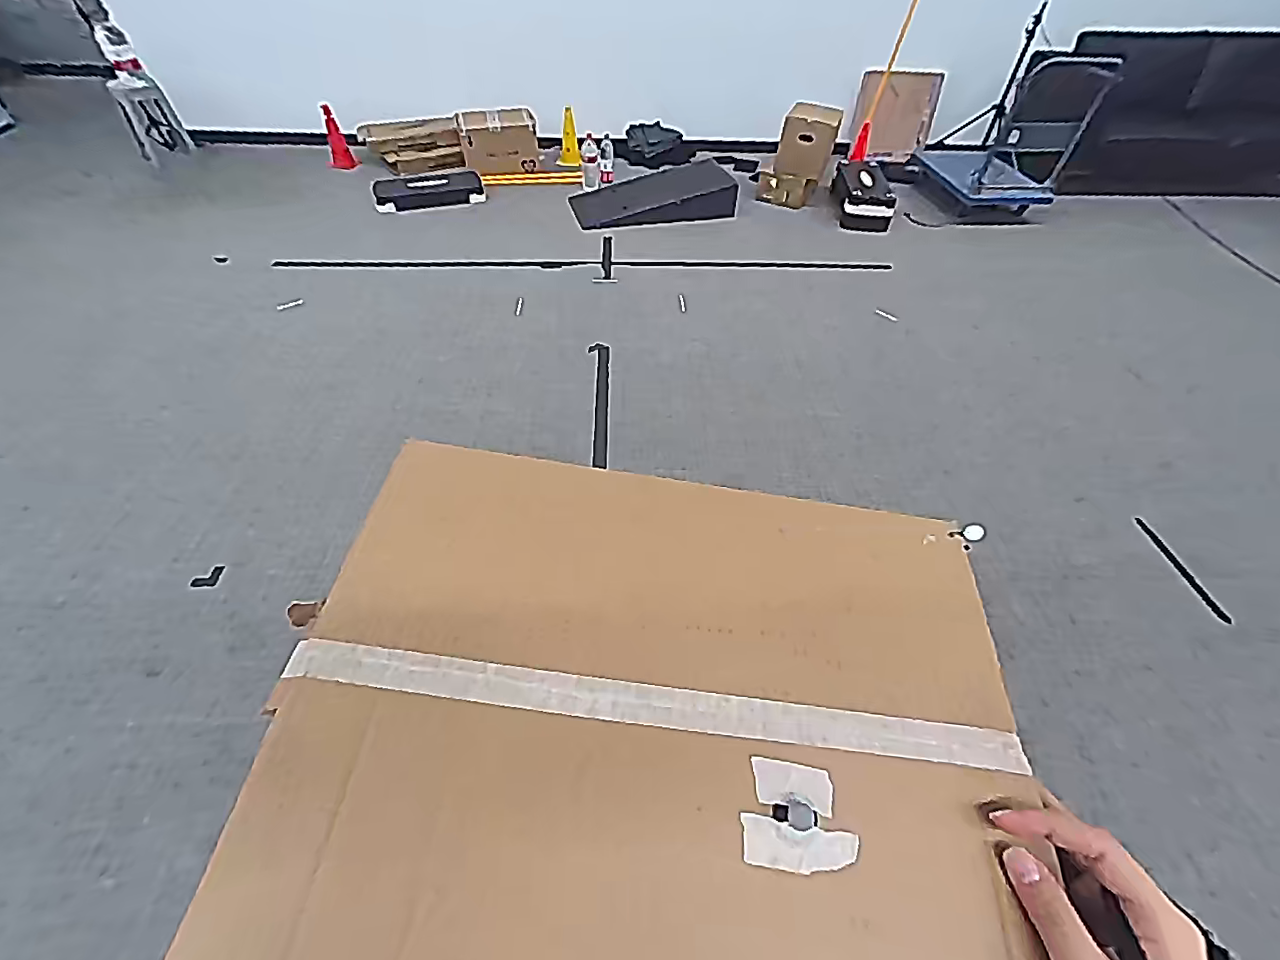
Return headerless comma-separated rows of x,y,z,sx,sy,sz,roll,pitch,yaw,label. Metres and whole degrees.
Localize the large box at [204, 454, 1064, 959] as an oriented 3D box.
0.002,0.217,0.432,0.408,0.320,0.320,10,55,-2,large box
